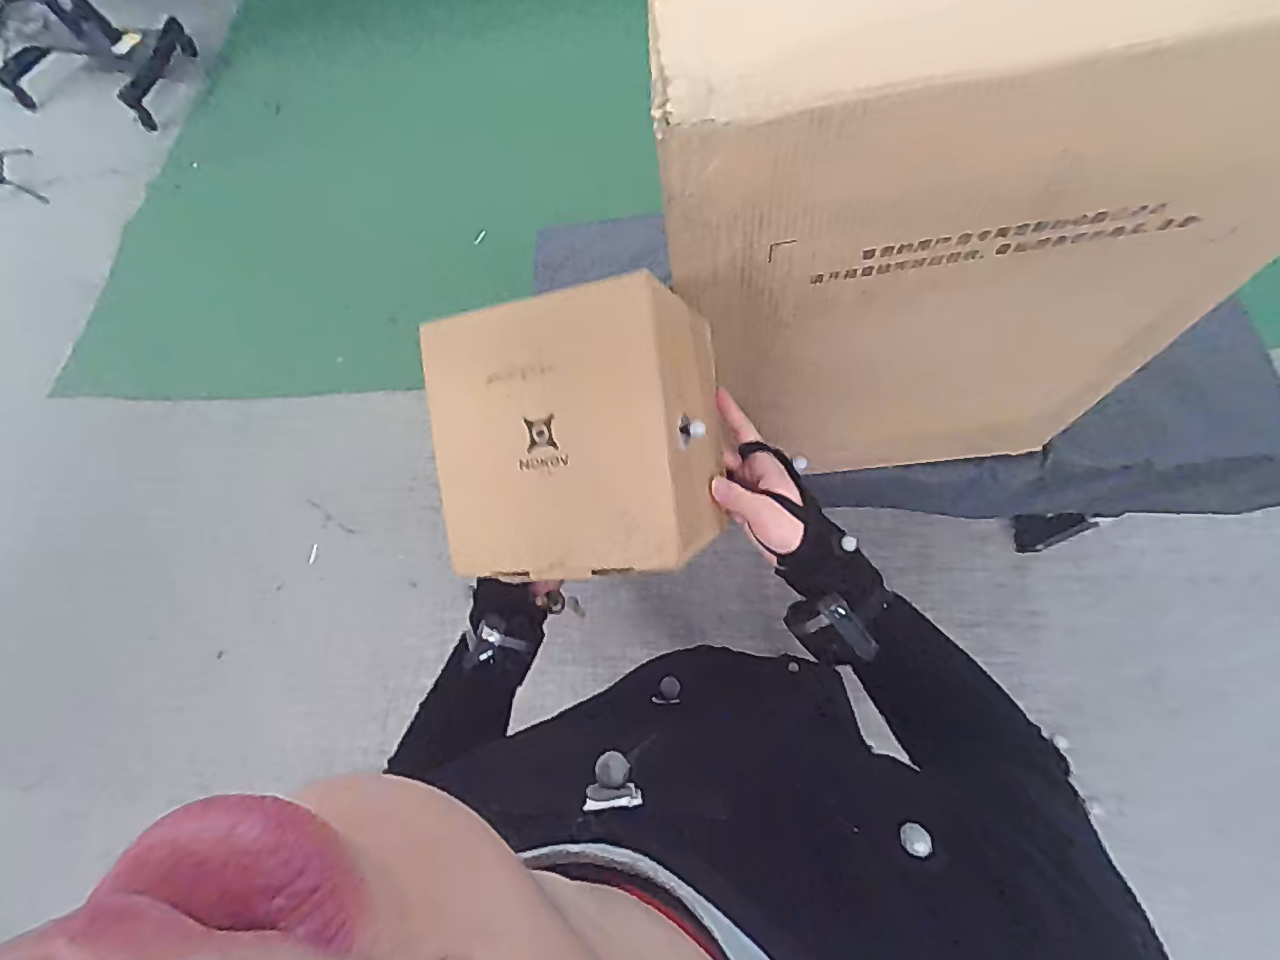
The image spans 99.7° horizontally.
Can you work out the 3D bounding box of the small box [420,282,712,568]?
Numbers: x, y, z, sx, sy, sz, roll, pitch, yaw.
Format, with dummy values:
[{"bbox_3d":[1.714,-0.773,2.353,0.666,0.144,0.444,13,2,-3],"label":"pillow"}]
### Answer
[{"bbox_3d":[-0.044,-0.036,0.436,0.168,0.176,0.179,-6,92,20],"label":"small box"}]
